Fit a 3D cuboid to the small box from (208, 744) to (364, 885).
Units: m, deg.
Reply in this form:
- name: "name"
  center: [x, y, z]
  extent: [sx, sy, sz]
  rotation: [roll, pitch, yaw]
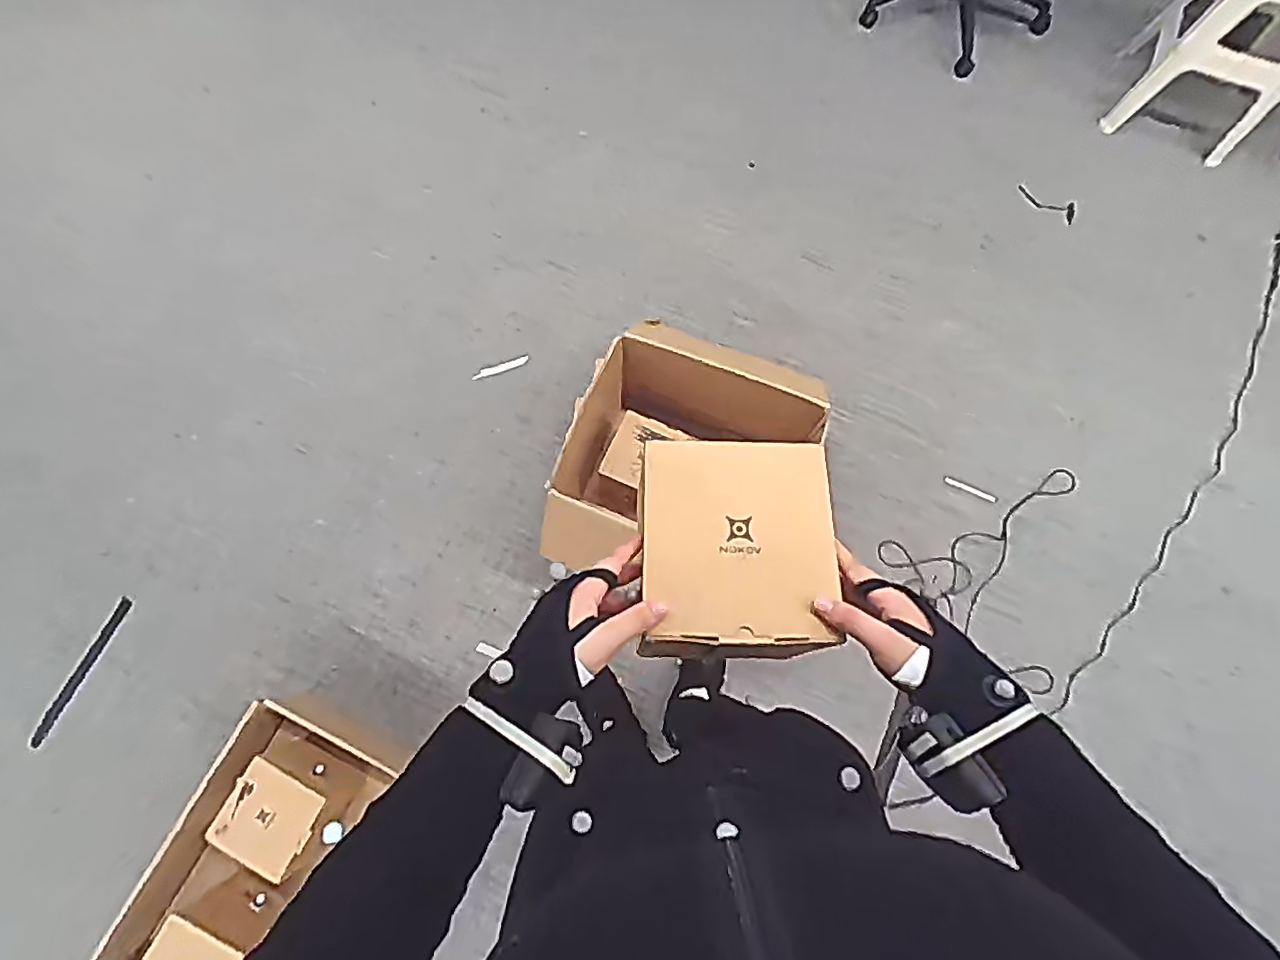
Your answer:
- name: "small box"
  center: [-0.721, 0.681, 1.128]
  extent: [0.179, 0.176, 0.168]
  rotation: [28, 77, 5]

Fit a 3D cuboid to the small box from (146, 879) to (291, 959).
- name: "small box"
  center: [-0.834, 0.938, 1.055]
  extent: [0.168, 0.176, 0.179]
  rotation: [25, 74, 4]
